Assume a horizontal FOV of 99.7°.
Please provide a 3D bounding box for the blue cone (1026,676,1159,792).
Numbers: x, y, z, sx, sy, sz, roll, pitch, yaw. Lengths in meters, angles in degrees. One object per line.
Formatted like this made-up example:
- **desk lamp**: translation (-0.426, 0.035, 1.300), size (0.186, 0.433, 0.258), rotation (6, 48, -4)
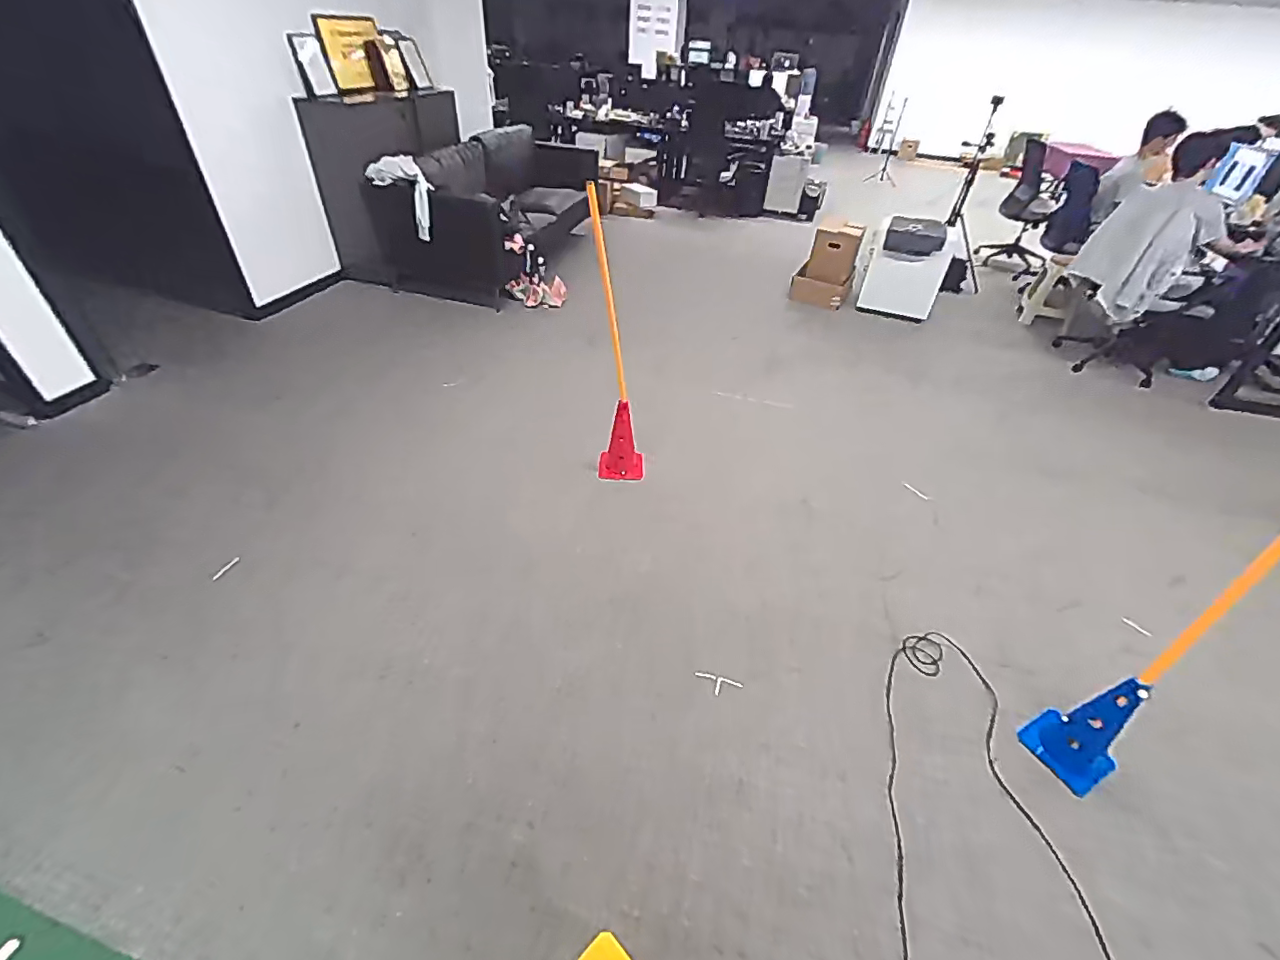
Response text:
- **blue cone**: translation (1.257, 0.647, 1.470), size (0.193, 0.380, 0.192), rotation (-15, 42, -27)
